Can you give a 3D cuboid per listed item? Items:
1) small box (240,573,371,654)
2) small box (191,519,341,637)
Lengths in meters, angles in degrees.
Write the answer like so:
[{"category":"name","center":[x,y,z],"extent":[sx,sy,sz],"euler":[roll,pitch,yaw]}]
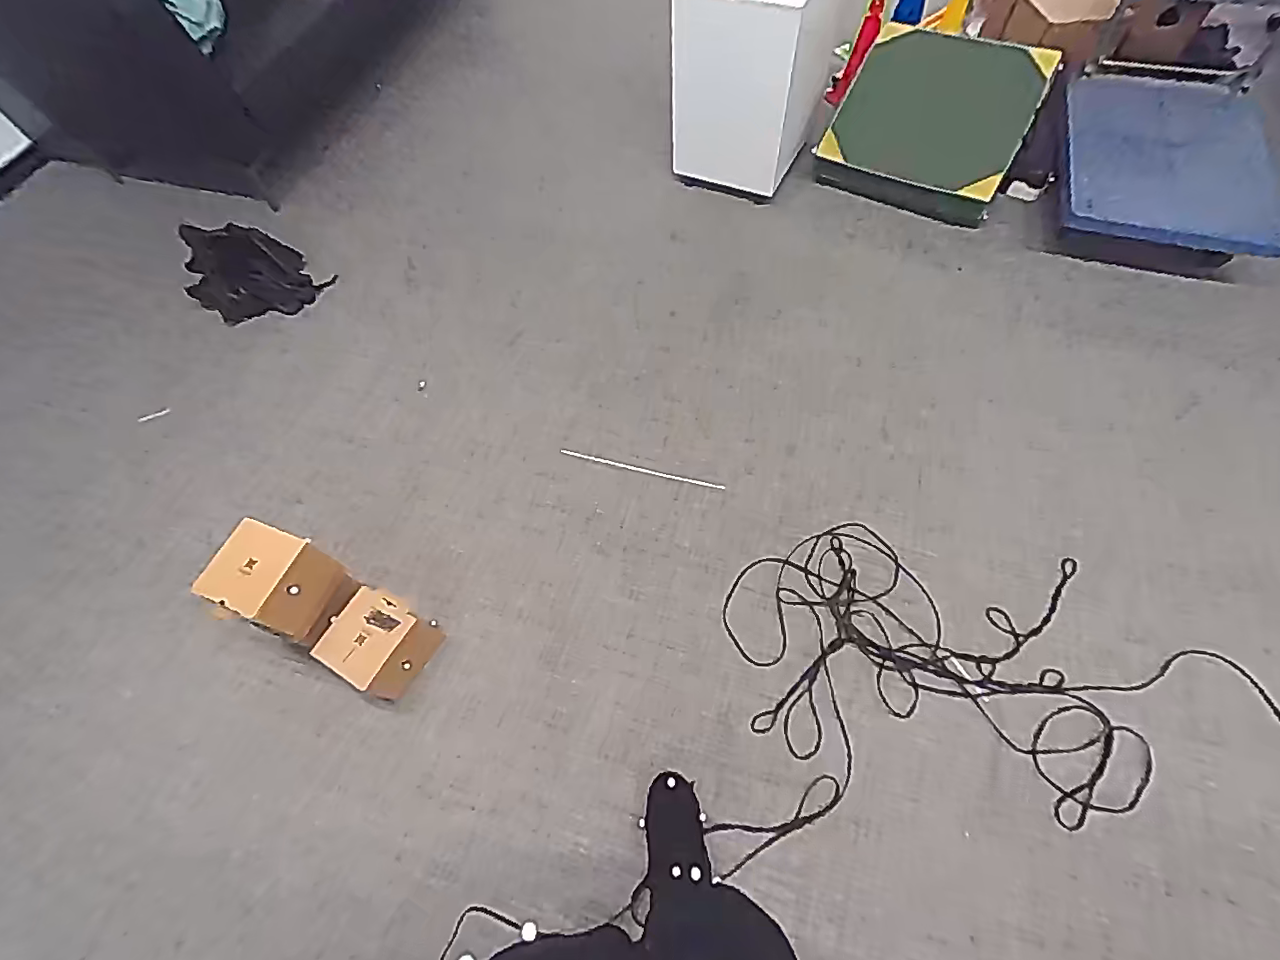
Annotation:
[{"category":"small box","center":[-0.791,0.300,1.301],"extent":[0.168,0.176,0.179],"euler":[17,65,13]},{"category":"small box","center":[-0.784,0.214,1.162],"extent":[0.168,0.176,0.179],"euler":[17,65,12]}]
